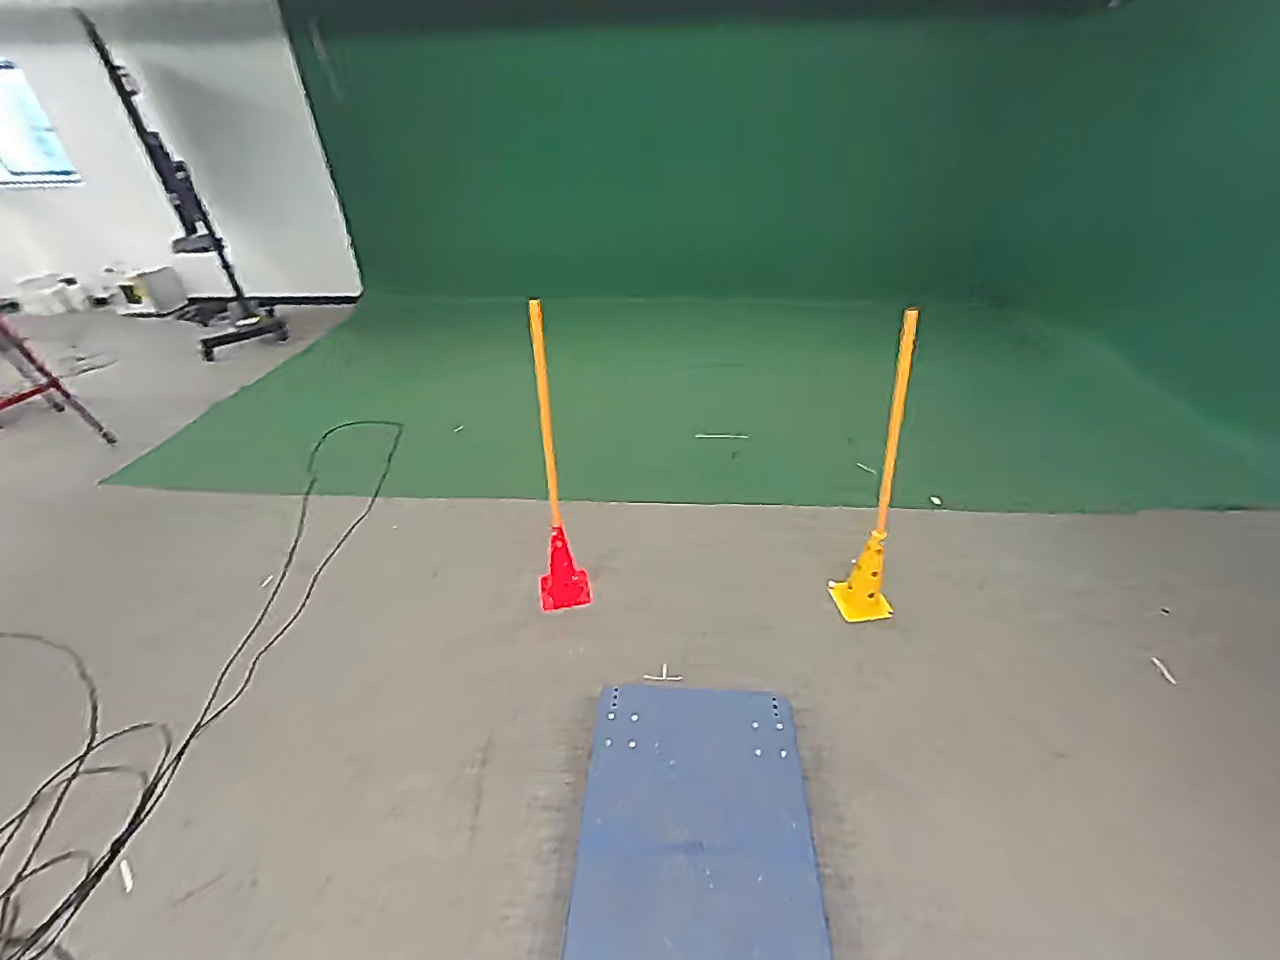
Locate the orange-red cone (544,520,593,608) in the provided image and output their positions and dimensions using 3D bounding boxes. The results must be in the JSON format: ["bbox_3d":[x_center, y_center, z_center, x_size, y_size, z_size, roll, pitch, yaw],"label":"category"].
[{"bbox_3d":[-0.304,0.305,2.134,0.199,0.360,0.198,-9,36,-7],"label":"orange-red cone"}]
